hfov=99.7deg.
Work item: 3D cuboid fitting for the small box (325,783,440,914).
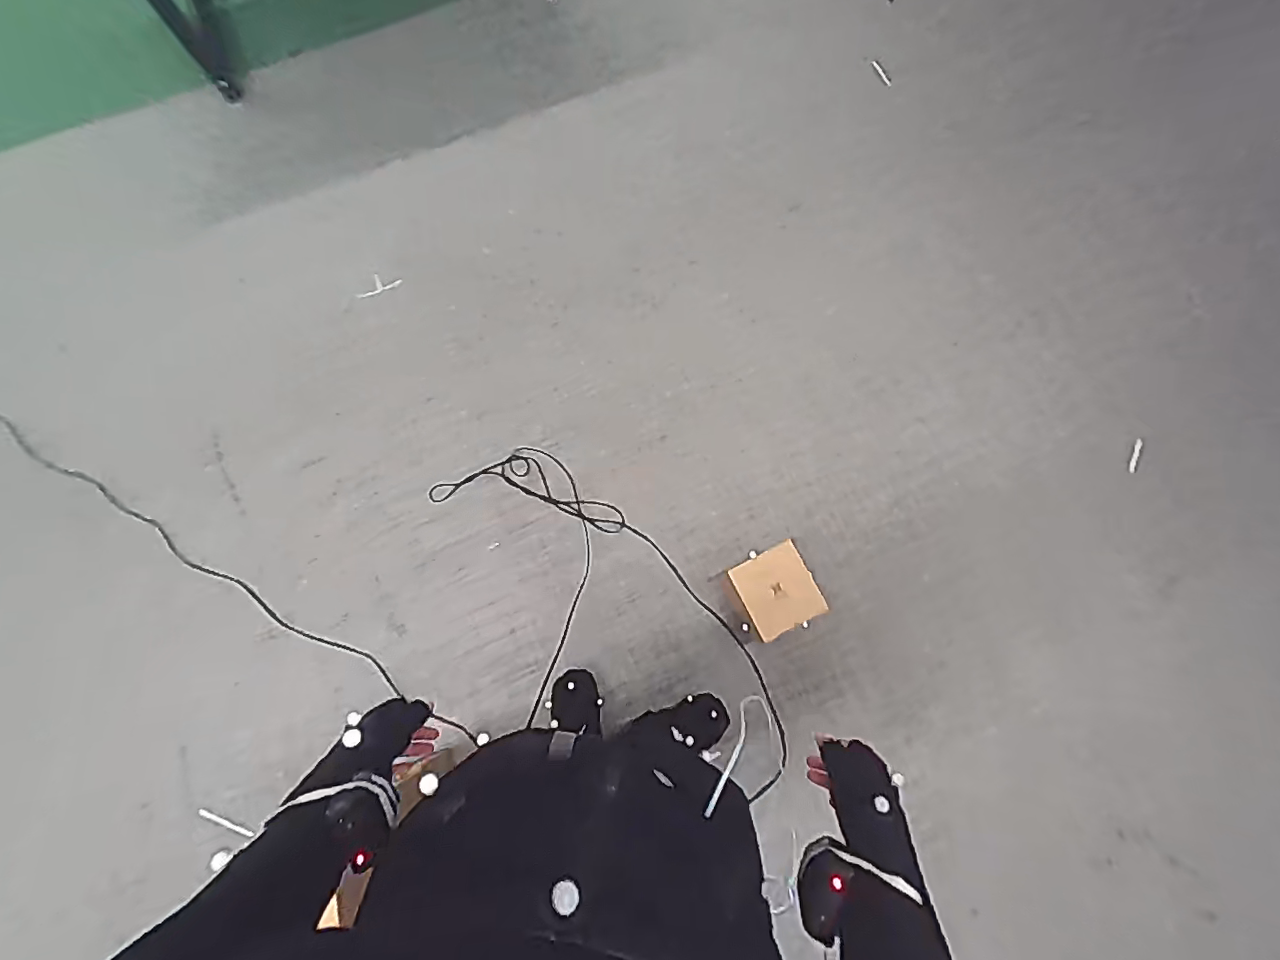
[{"bbox_3d":[-0.493,0.687,0.996,0.168,0.176,0.179,-20,76,-4],"label":"small box"}]

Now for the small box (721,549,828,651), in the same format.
[{"bbox_3d":[0.306,0.282,1.267,0.168,0.176,0.179,-24,75,-6],"label":"small box"}]

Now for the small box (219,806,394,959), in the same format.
[{"bbox_3d":[-0.505,0.645,0.839,0.168,0.176,0.179,-16,74,-3],"label":"small box"}]

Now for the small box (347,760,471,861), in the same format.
[{"bbox_3d":[-0.488,0.725,1.158,0.168,0.176,0.179,-24,74,-2],"label":"small box"}]
